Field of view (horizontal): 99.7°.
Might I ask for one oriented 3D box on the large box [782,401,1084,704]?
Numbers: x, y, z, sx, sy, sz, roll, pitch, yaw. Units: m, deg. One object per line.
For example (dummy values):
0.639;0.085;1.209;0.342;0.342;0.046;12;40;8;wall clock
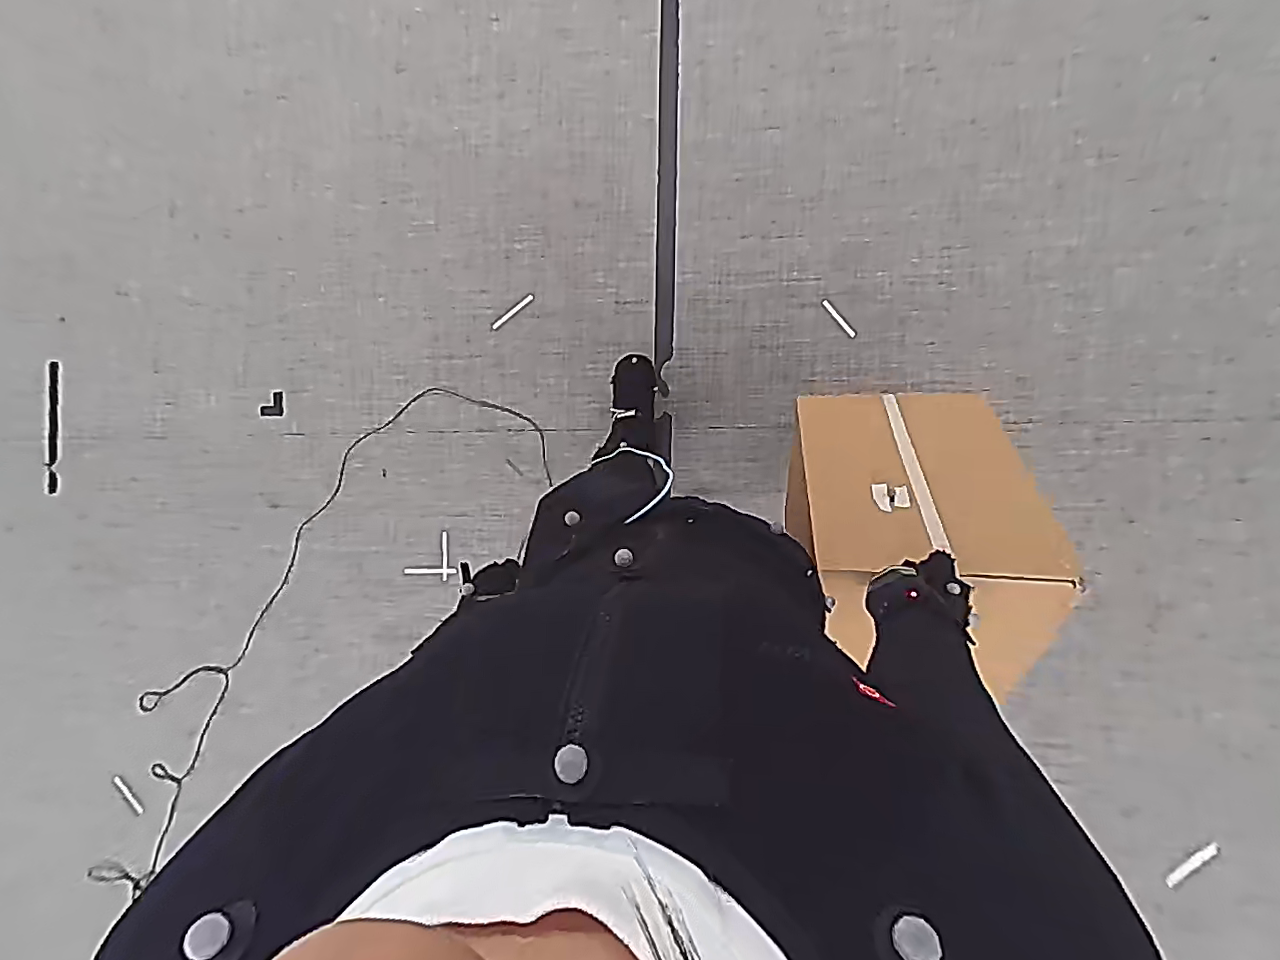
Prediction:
0.423;0.106;0.915;0.320;0.408;0.320;0;132;10;large box
